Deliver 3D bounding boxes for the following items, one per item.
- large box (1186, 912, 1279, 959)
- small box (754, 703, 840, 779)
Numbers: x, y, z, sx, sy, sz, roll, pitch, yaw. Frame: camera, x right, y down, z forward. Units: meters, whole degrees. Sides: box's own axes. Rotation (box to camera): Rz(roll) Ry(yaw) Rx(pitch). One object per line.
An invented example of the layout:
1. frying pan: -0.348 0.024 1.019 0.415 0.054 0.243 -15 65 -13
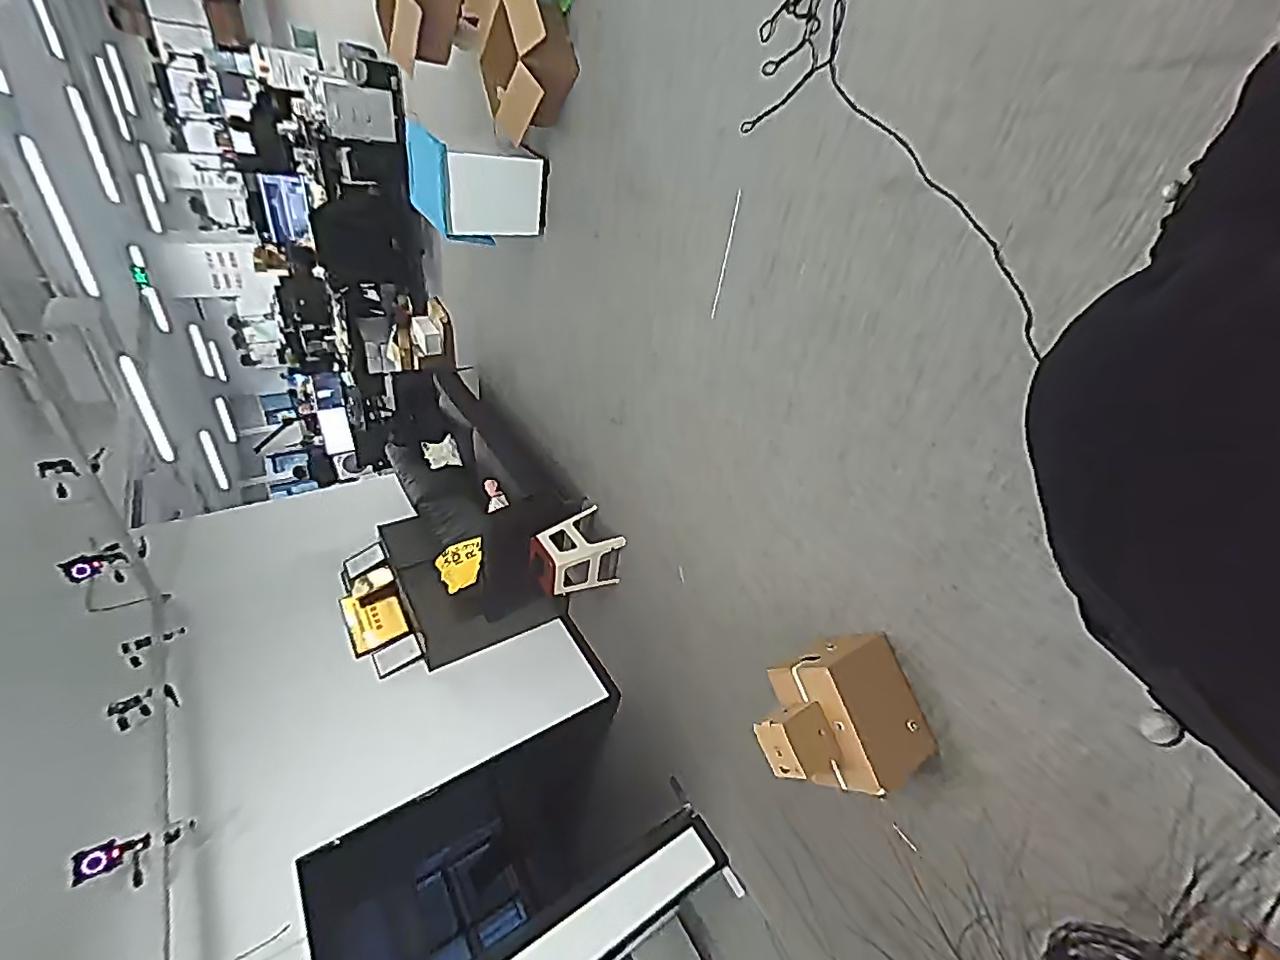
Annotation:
1. large box: 1.358 1.235 1.095 0.408 0.320 0.320 31 129 47
2. small box: 0.514 0.846 1.769 0.179 0.176 0.168 66 149 14
